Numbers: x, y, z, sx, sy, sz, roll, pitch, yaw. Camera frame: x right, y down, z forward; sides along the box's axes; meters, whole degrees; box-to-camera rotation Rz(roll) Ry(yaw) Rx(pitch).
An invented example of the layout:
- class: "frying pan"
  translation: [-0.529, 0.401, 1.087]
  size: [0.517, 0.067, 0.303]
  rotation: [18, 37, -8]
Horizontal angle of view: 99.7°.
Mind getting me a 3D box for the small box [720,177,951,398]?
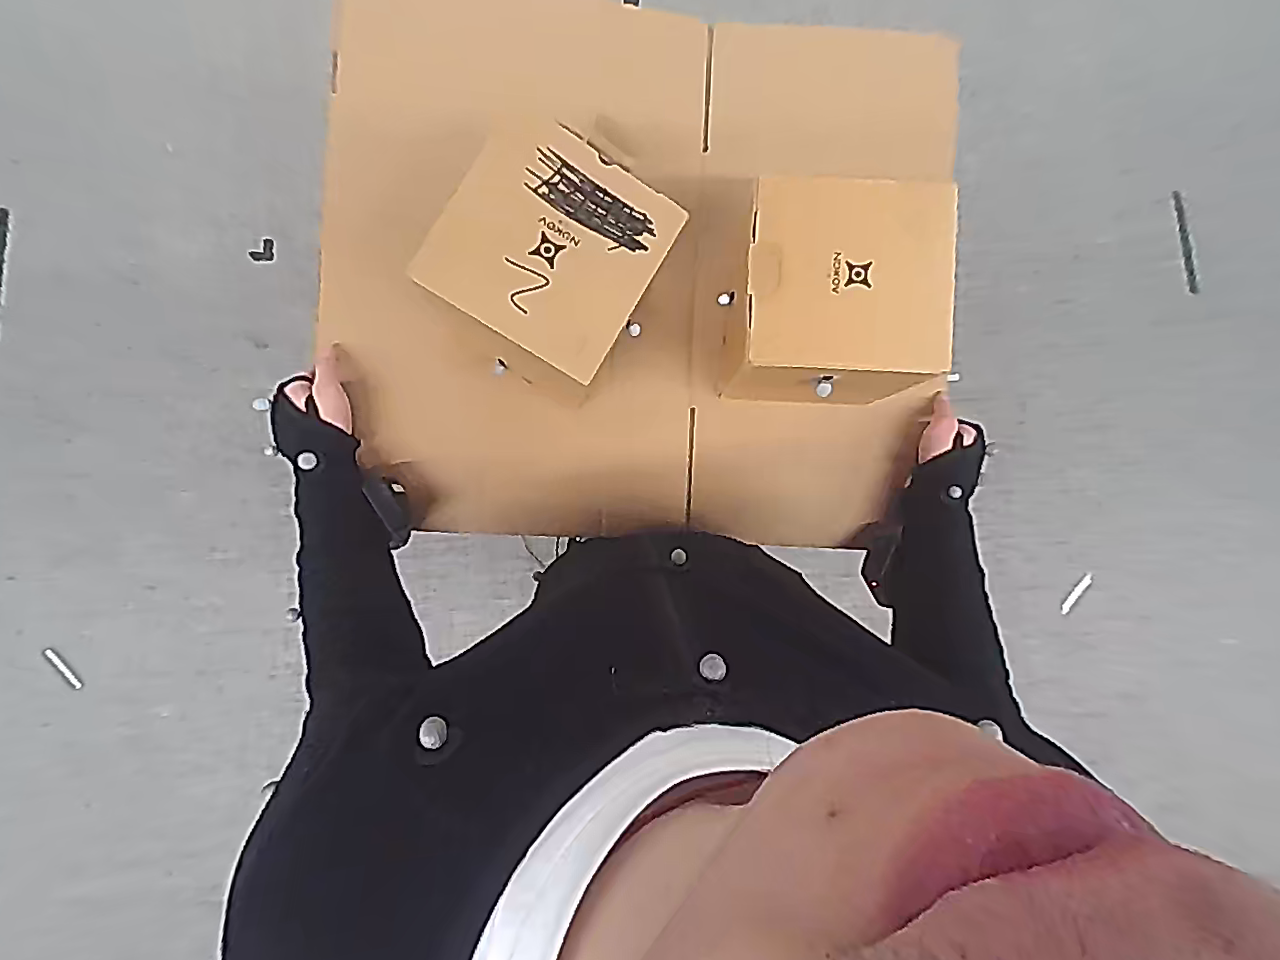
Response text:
- class: "small box"
  translation: [0.185, -0.181, 0.559]
  size: [0.179, 0.176, 0.168]
  rotation: [3, 89, 1]
